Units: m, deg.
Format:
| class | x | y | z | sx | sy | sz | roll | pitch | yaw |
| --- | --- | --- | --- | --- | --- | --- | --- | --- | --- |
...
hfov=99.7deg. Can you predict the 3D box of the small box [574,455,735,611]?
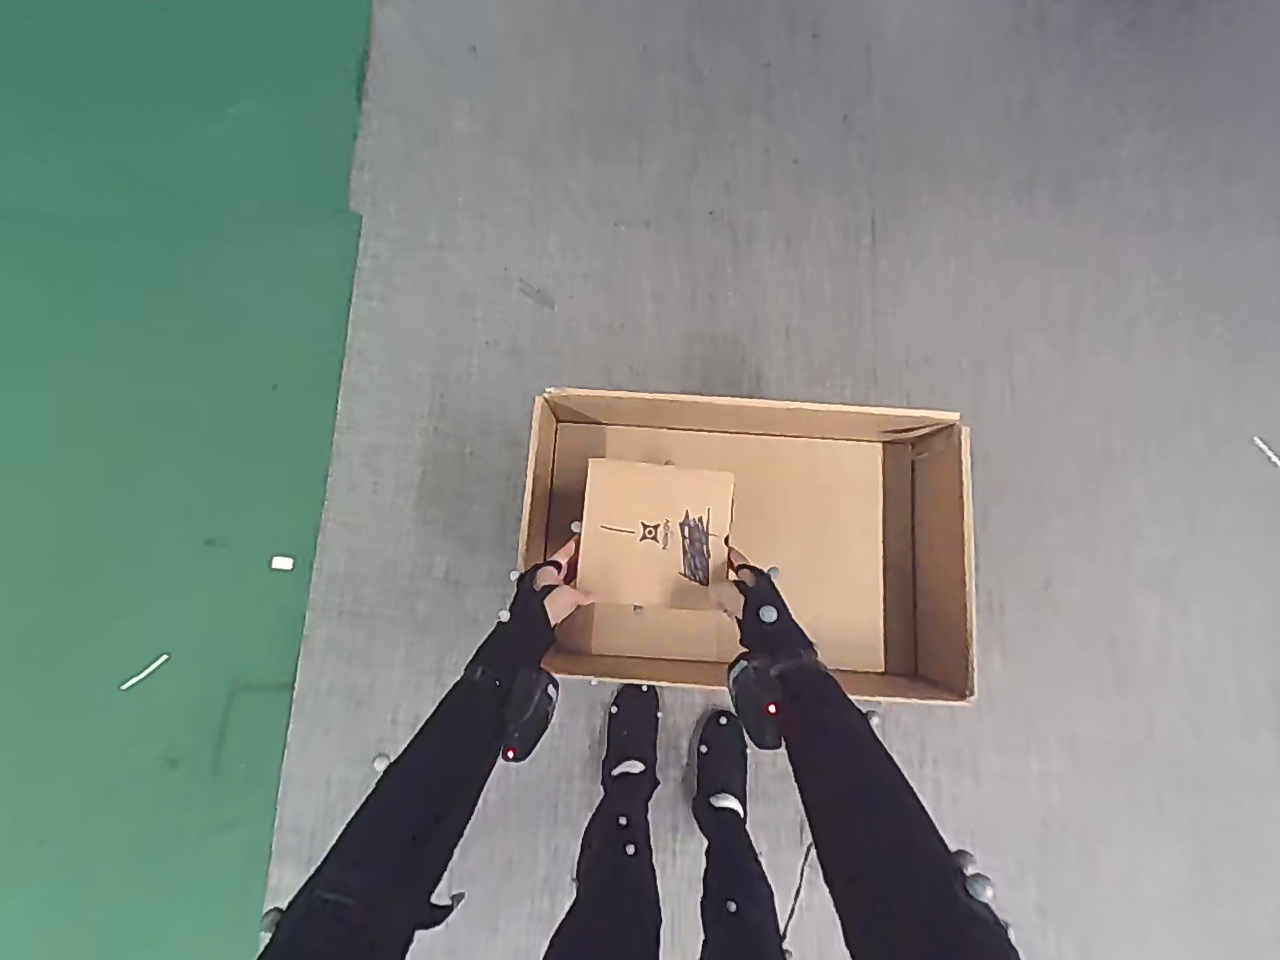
| class | x | y | z | sx | sy | sz | roll | pitch | yaw |
| --- | --- | --- | --- | --- | --- | --- | --- | --- | --- |
| small box | 0.014 | 0.071 | 0.701 | 0.179 | 0.176 | 0.168 | 6 | 81 | -3 |
